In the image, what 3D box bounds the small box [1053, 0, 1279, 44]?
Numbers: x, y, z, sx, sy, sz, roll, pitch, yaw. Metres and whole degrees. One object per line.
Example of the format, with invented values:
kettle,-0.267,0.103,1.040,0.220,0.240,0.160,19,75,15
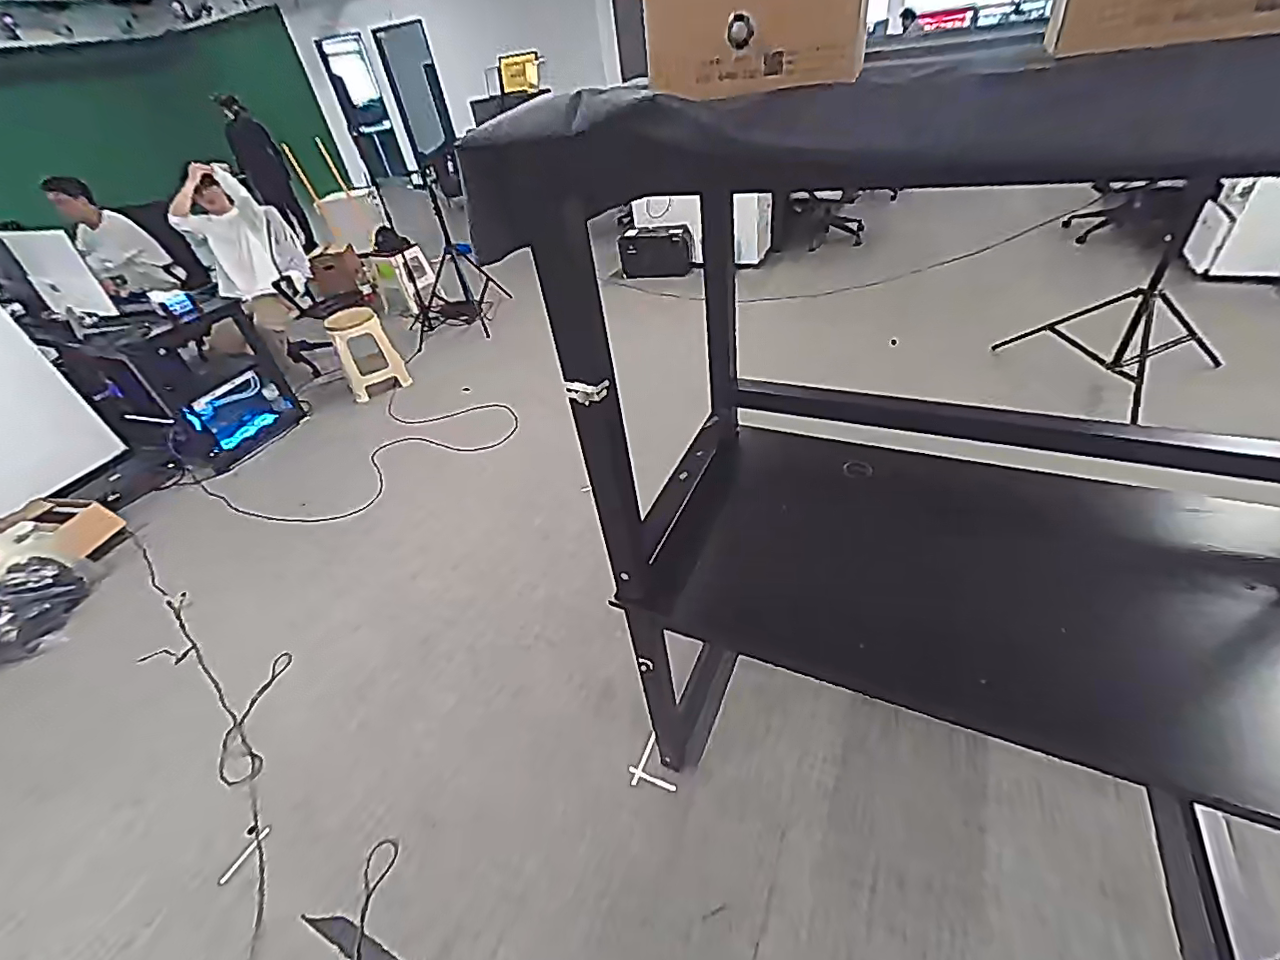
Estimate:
small box,0.388,-0.393,0.343,0.168,0.176,0.179,13,42,26
